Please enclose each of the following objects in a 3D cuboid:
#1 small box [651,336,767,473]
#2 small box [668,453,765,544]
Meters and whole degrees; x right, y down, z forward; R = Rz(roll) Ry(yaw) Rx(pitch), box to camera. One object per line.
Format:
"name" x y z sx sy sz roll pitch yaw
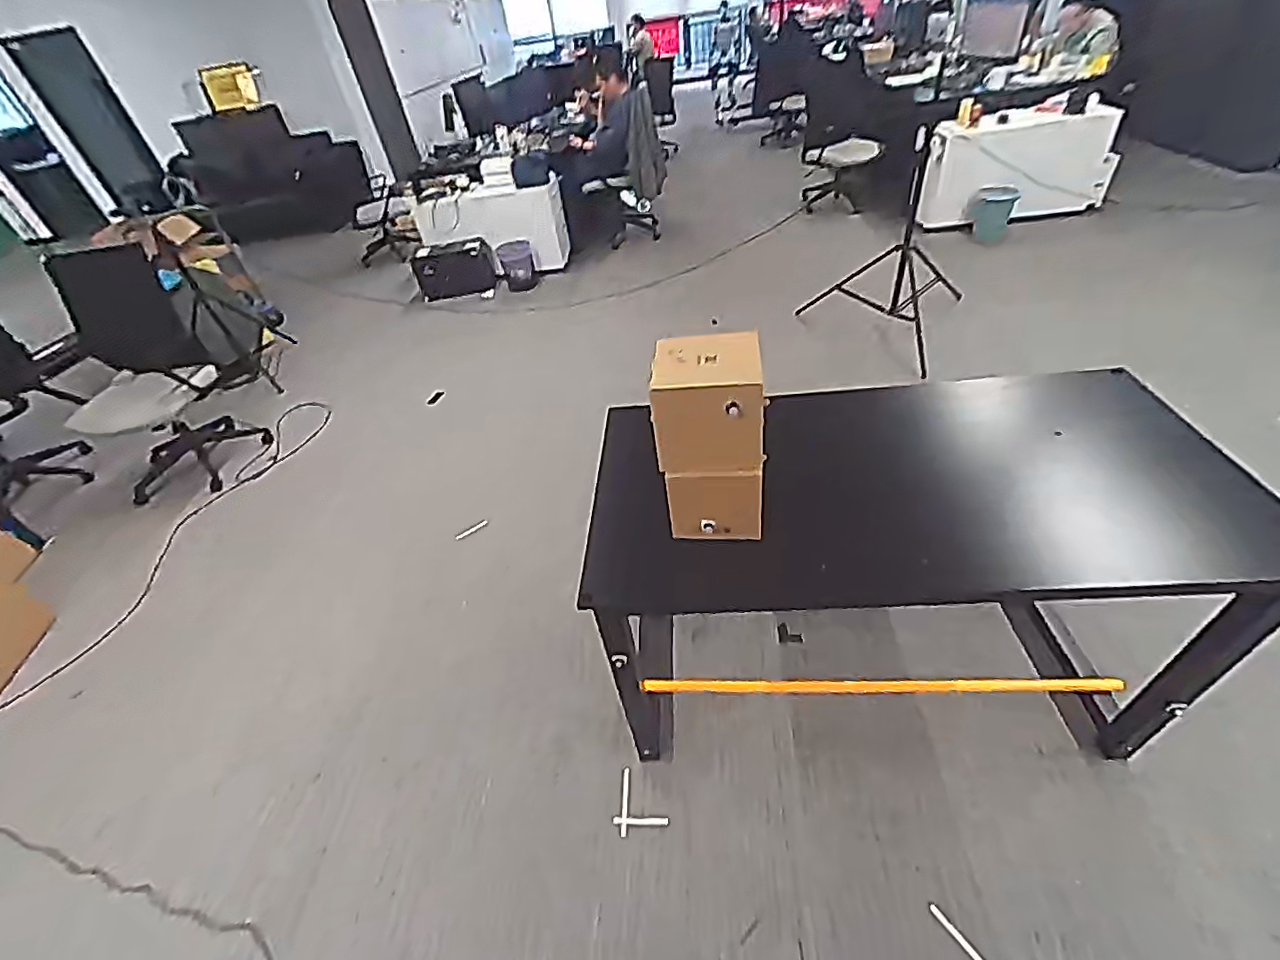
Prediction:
"small box" 0.120 -0.125 0.923 0.179 0.176 0.168 -2 41 10
"small box" 0.146 0.001 1.025 0.168 0.176 0.179 -2 43 10
